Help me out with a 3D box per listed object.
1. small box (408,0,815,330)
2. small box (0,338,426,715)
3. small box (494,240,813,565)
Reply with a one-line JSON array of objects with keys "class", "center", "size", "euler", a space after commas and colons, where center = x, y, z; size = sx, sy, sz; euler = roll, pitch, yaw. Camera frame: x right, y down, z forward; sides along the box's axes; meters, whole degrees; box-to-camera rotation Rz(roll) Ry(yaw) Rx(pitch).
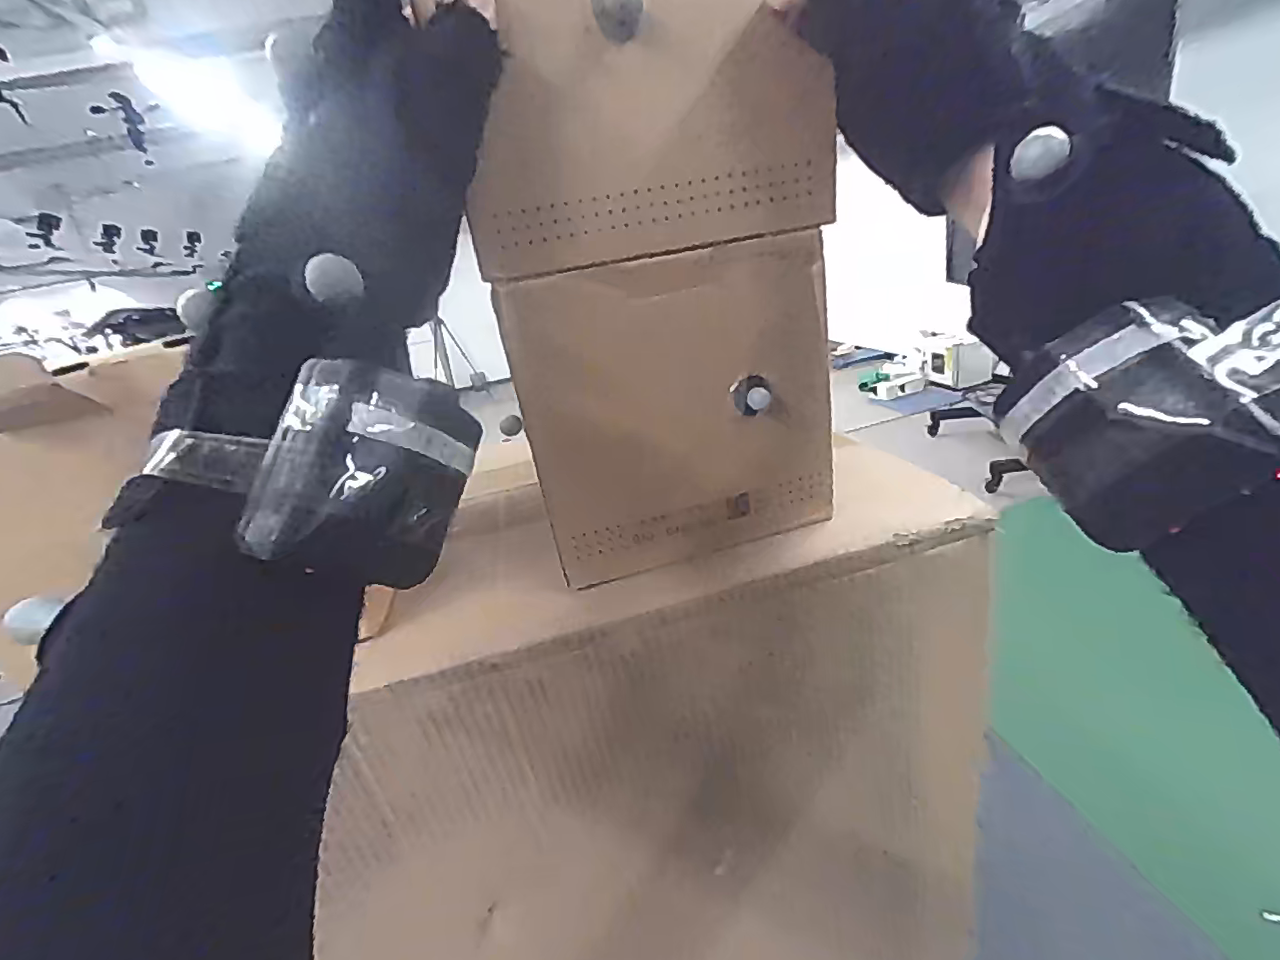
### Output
[{"class": "small box", "center": [-0.011, -0.192, 0.312], "size": [0.179, 0.176, 0.168], "euler": [-11, 23, -4]}, {"class": "small box", "center": [-0.253, 0.020, 0.349], "size": [0.168, 0.176, 0.179], "euler": [-16, 24, -10]}, {"class": "small box", "center": [0.005, -0.056, 0.369], "size": [0.168, 0.176, 0.179], "euler": [-13, 22, -8]}]
